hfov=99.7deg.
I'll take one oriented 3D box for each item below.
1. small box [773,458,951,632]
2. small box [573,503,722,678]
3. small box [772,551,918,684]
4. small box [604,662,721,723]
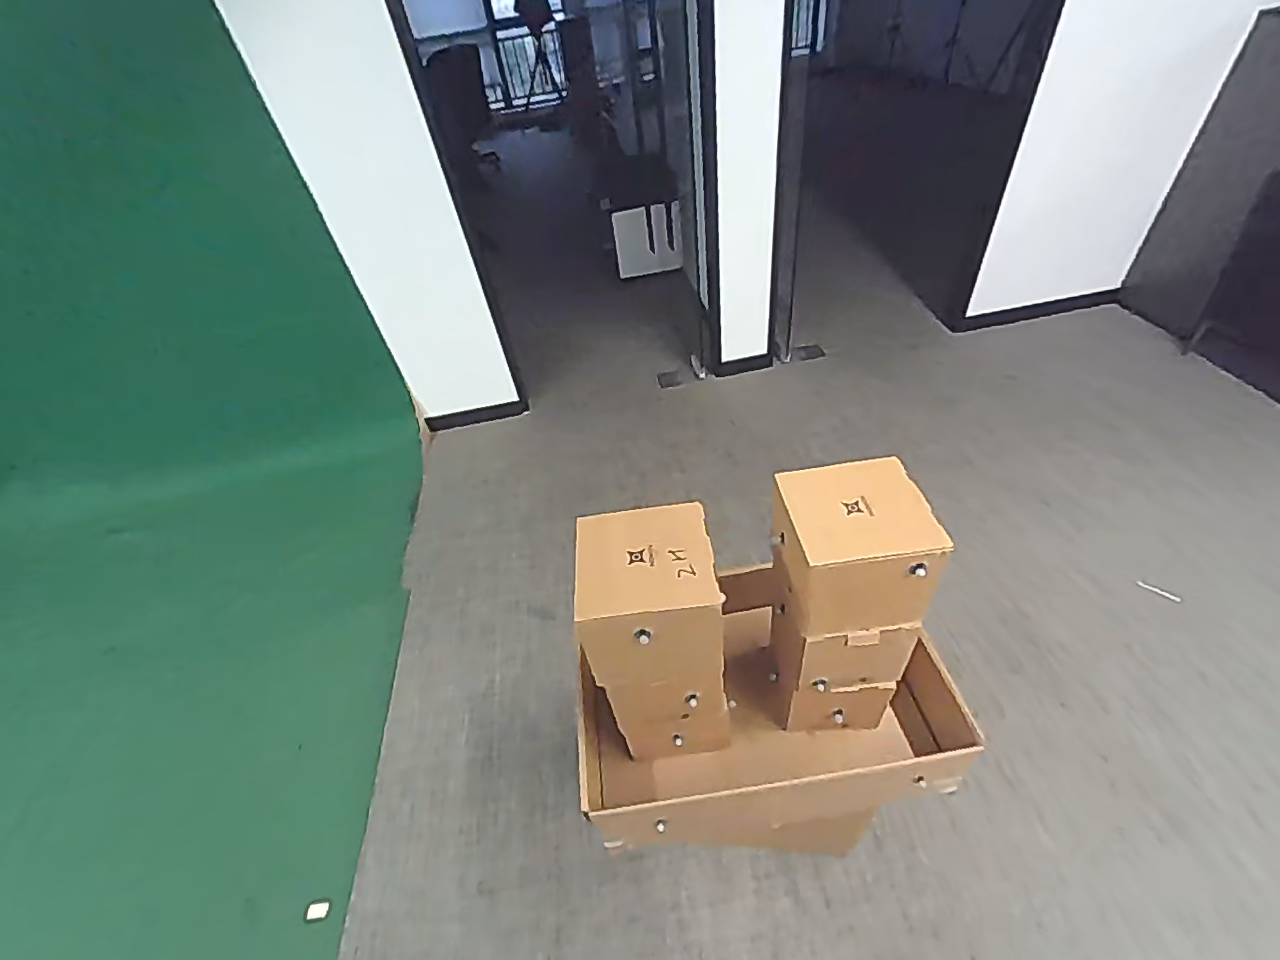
[{"bbox_3d":[0.290,0.094,0.755,0.179,0.176,0.168,-8,44,1],"label":"small box"},{"bbox_3d":[0.014,0.154,0.736,0.179,0.176,0.168,-7,45,2],"label":"small box"},{"bbox_3d":[0.313,0.210,0.866,0.168,0.176,0.179,-8,43,2],"label":"small box"},{"bbox_3d":[0.032,0.266,0.857,0.168,0.176,0.179,-9,44,0],"label":"small box"}]
